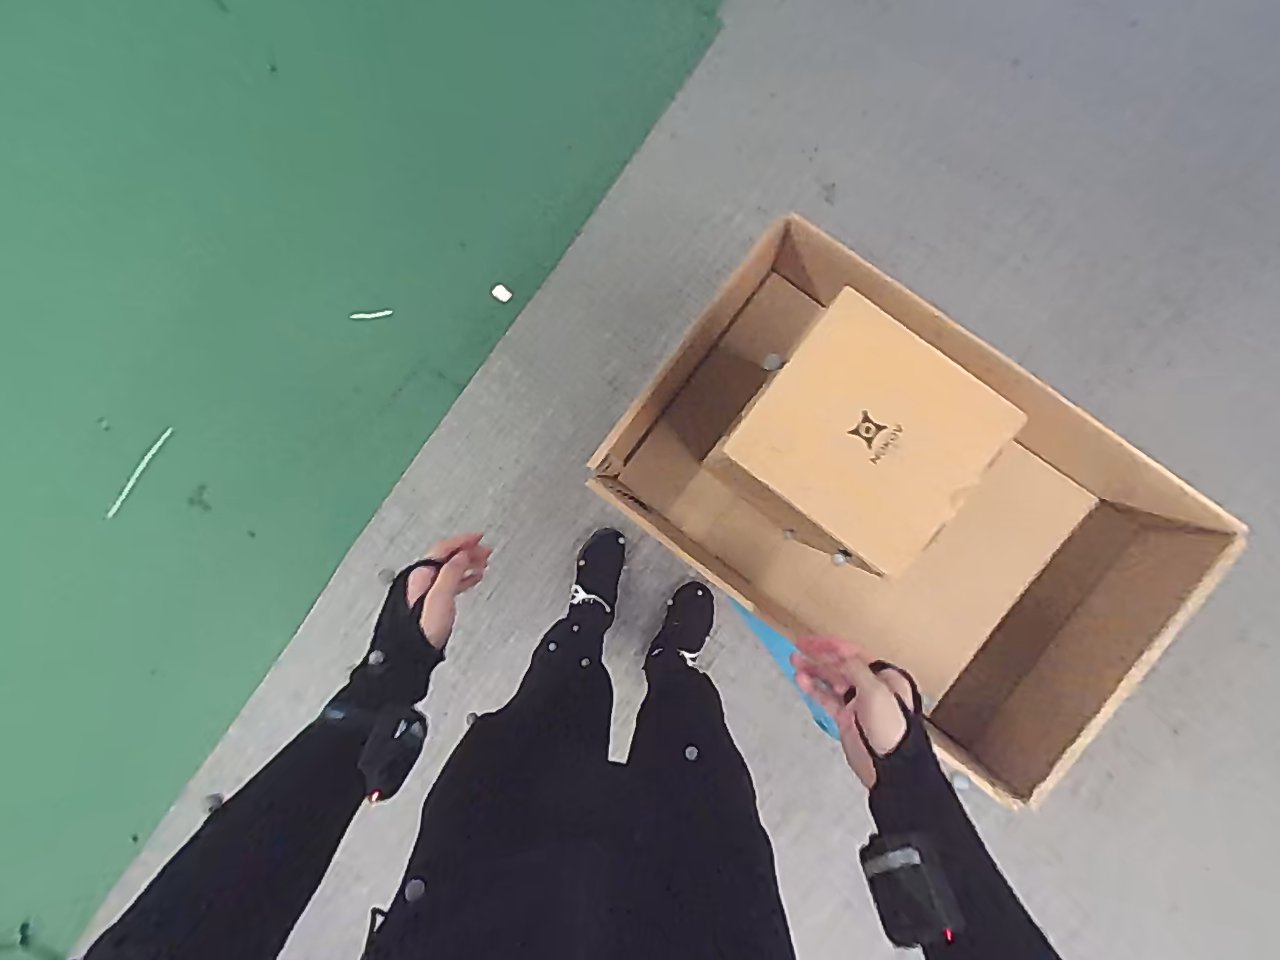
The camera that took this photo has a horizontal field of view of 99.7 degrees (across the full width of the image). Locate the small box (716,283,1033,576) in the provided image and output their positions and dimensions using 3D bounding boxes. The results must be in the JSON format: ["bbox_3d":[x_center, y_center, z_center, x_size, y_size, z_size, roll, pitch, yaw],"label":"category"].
[{"bbox_3d":[0.187,-0.037,0.495,0.179,0.176,0.168,37,91,3],"label":"small box"}]
